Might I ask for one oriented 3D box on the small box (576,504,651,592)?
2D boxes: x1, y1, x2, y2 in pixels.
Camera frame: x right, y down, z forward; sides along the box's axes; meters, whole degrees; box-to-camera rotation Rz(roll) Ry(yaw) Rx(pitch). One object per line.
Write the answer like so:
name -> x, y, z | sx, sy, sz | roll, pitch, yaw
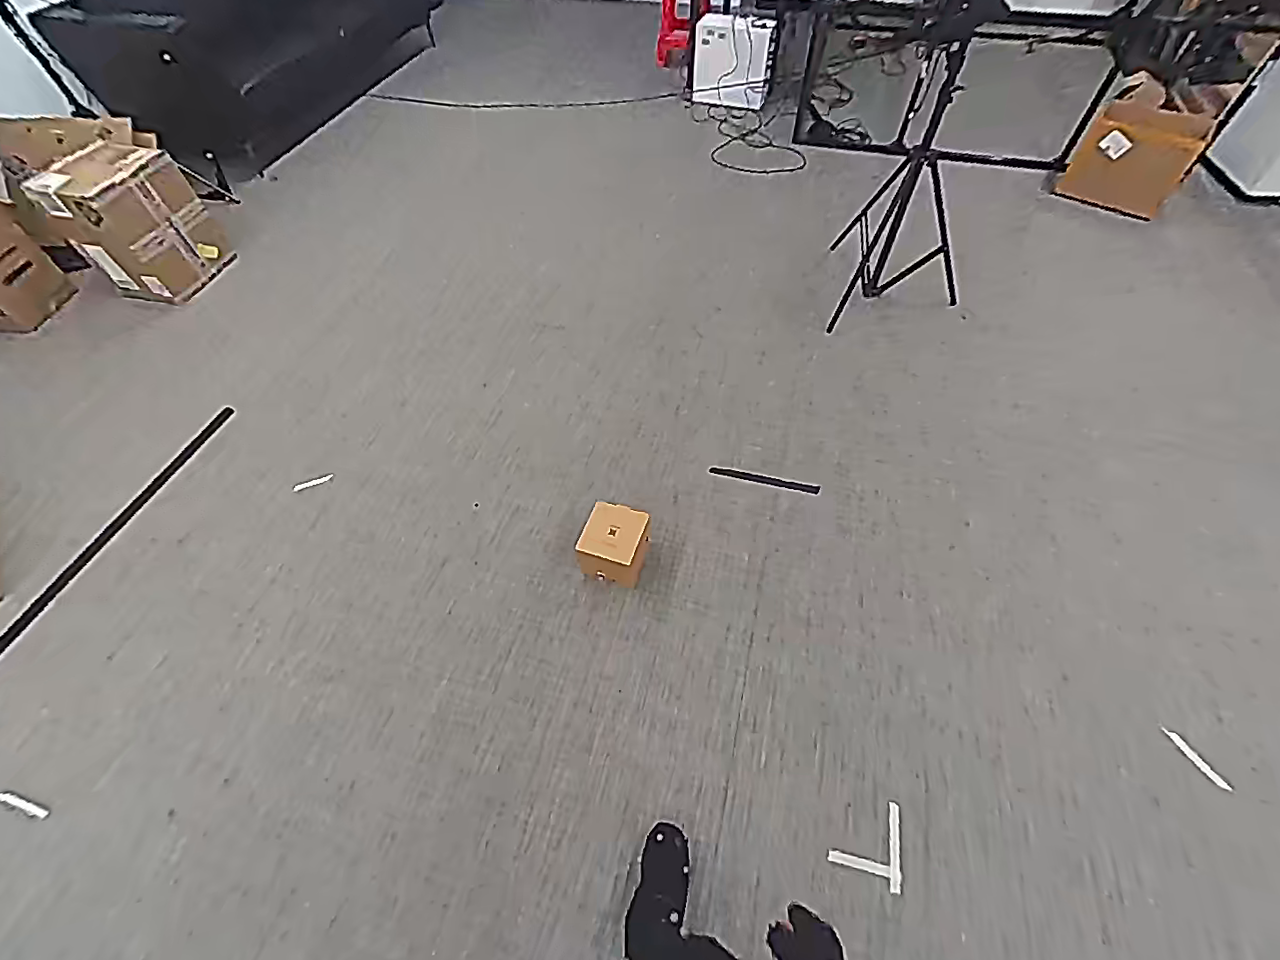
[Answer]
small box -> -0.071, 0.201, 1.587 | 0.168, 0.176, 0.179 | 14, 57, 13
